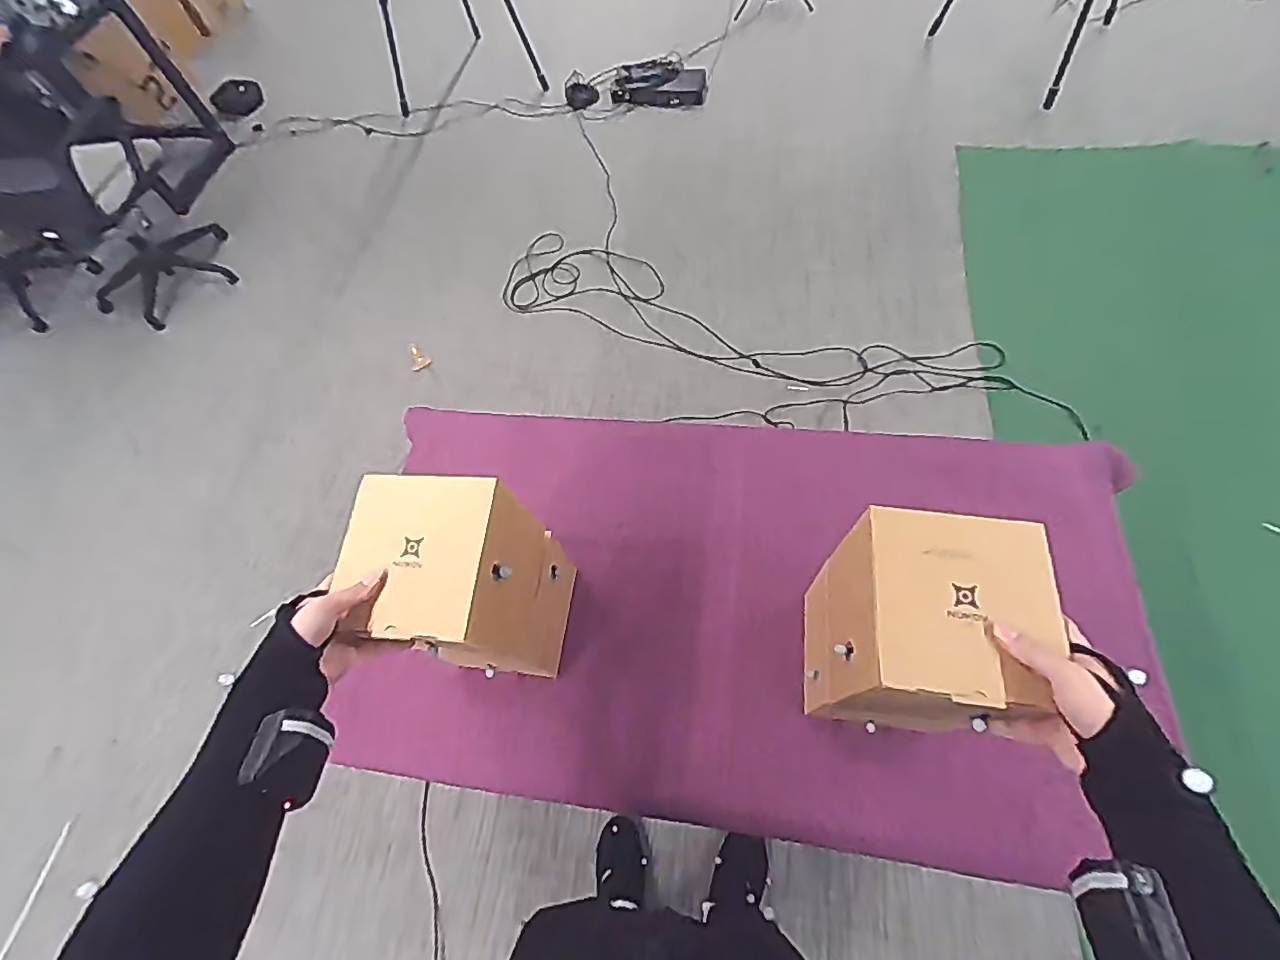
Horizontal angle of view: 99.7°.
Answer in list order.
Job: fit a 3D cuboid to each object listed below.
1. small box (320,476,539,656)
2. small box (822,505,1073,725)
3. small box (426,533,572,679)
[{"bbox_3d":[-0.233,0.108,0.650,0.168,0.176,0.179,1,69,11],"label":"small box"},{"bbox_3d":[0.295,0.147,0.563,0.168,0.176,0.179,7,61,6],"label":"small box"},{"bbox_3d":[-0.207,0.184,0.804,0.168,0.176,0.179,4,62,10],"label":"small box"}]
